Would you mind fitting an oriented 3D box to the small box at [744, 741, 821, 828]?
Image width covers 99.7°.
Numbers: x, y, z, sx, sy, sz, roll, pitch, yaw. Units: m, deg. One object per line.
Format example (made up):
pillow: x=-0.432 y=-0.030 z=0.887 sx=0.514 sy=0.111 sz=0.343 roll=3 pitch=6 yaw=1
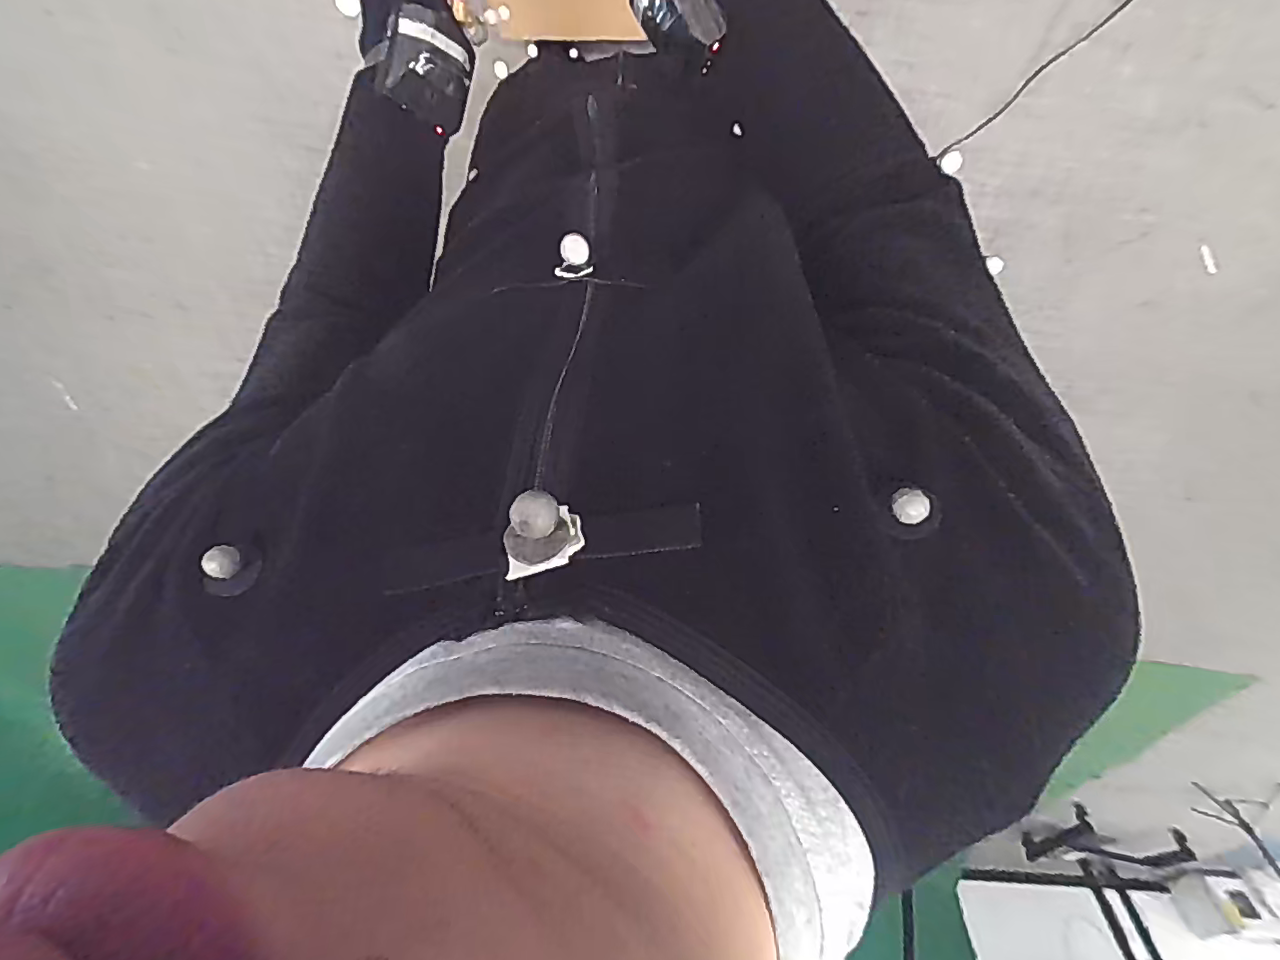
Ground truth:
small box: x=0.396 y=0.867 z=1.540 sx=0.168 sy=0.176 sz=0.179 roll=3 pitch=132 yaw=-1
